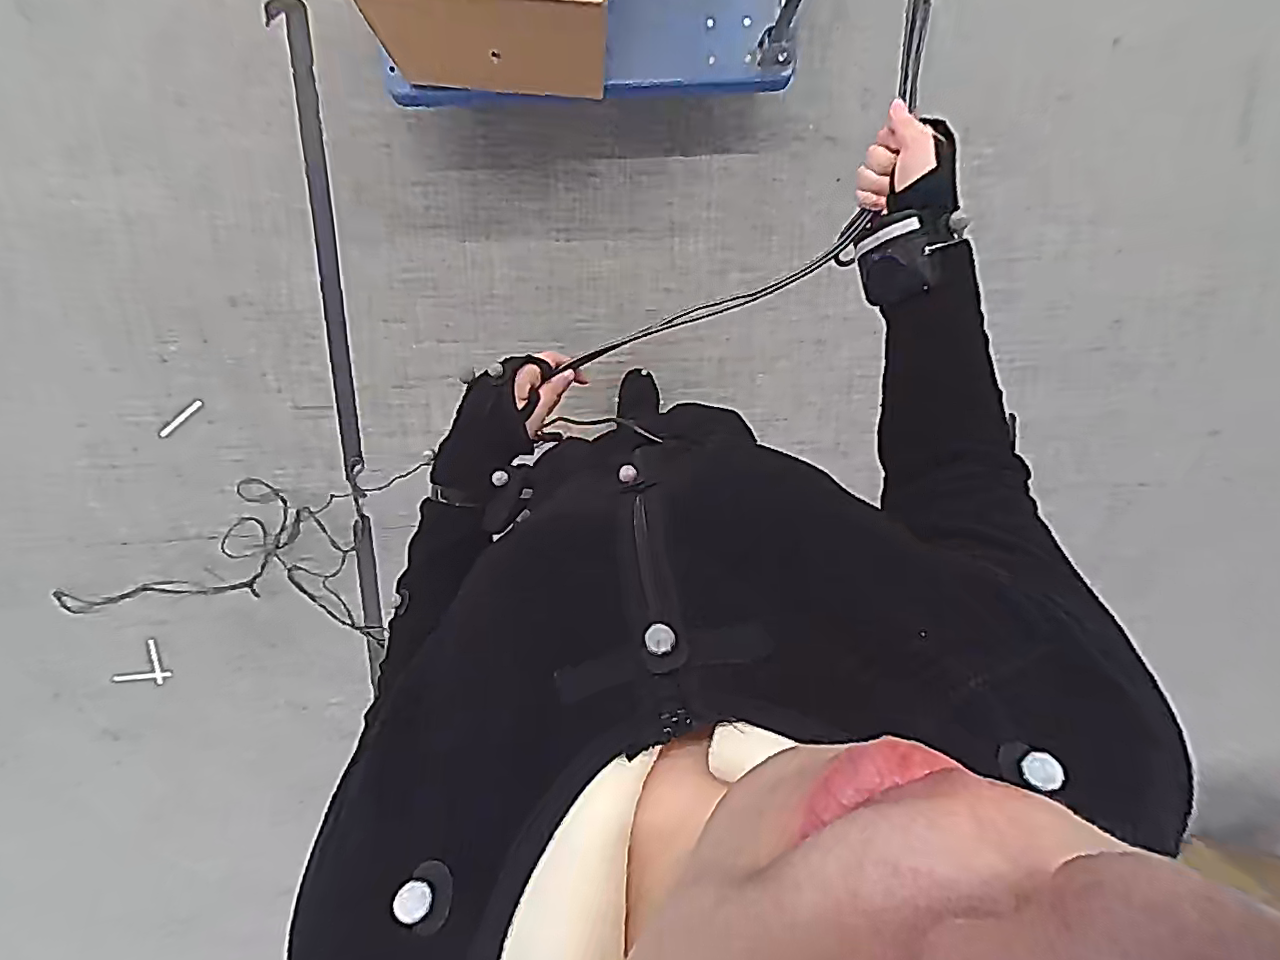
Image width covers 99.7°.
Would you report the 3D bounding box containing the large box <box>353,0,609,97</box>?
[{"bbox_3d":[-0.258,-0.923,0.951,0.408,0.320,0.320,1,100,-4],"label":"large box"}]
